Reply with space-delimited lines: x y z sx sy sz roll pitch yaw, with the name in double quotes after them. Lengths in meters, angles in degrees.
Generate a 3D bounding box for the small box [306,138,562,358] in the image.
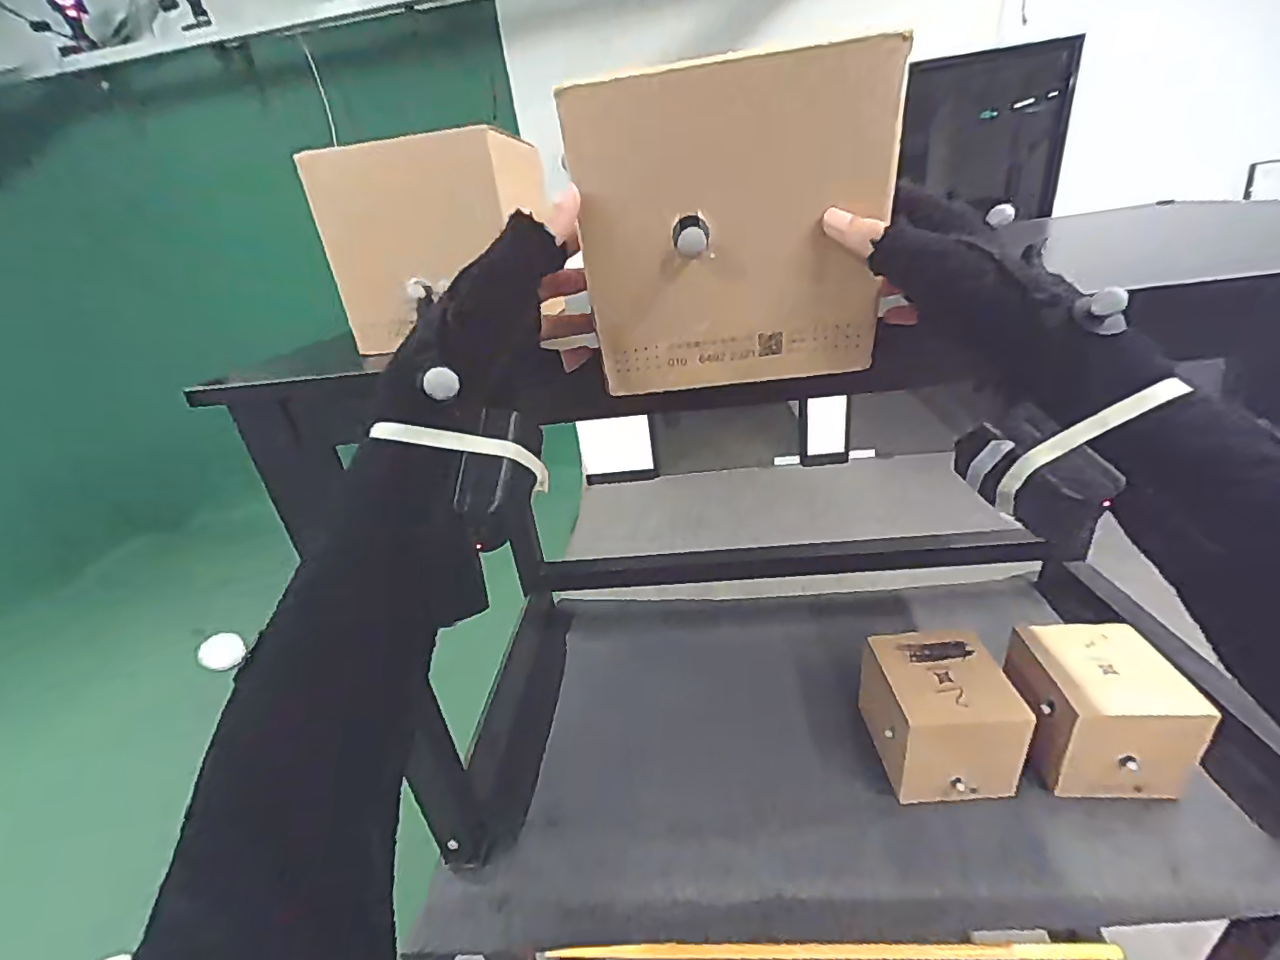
-0.183 -0.228 0.546 0.168 0.176 0.179 -4 26 7 "small box"

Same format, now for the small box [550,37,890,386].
0.051 -0.171 0.366 0.168 0.176 0.179 -5 34 6 "small box"
